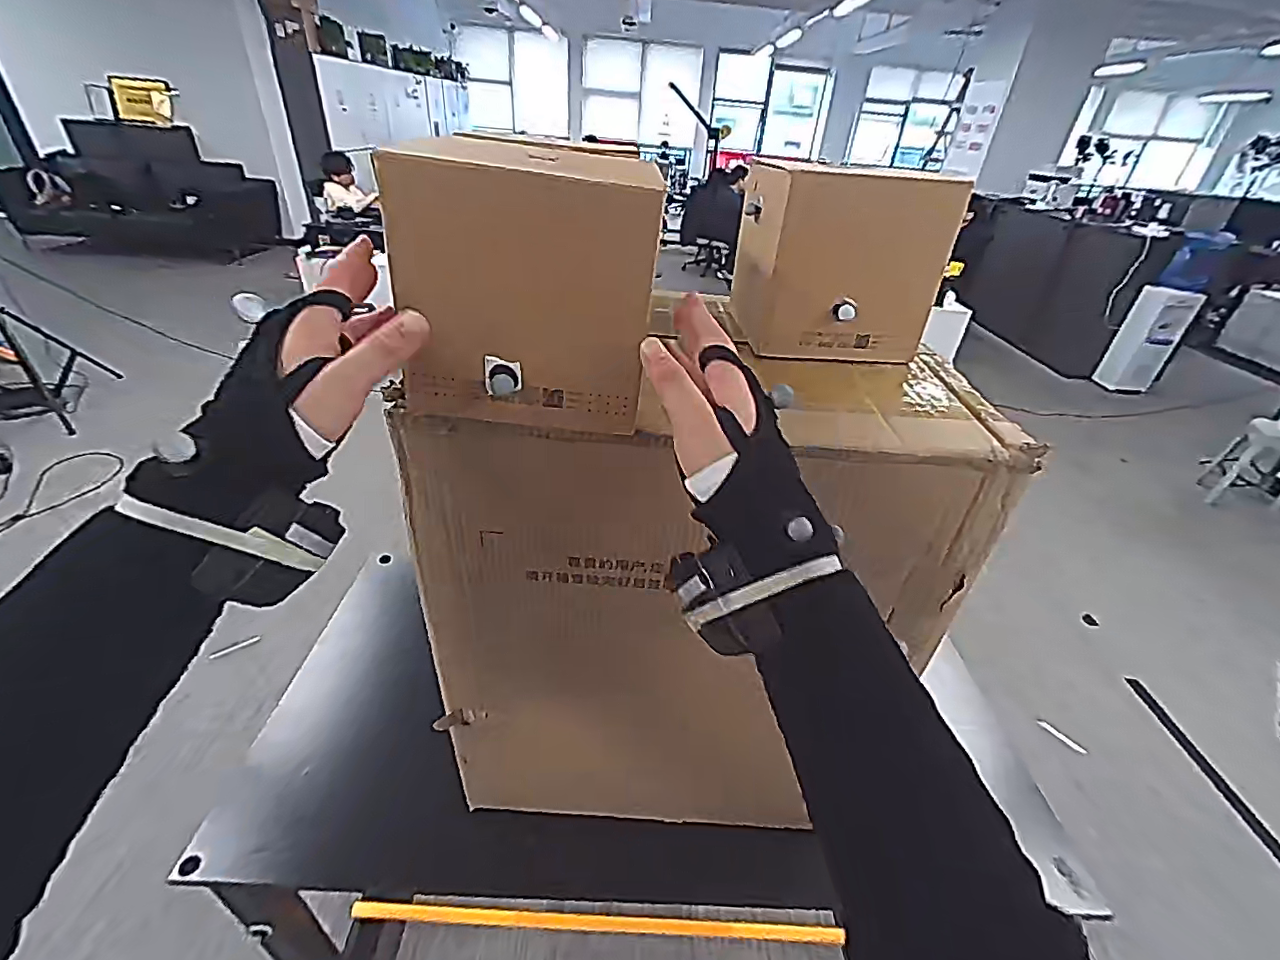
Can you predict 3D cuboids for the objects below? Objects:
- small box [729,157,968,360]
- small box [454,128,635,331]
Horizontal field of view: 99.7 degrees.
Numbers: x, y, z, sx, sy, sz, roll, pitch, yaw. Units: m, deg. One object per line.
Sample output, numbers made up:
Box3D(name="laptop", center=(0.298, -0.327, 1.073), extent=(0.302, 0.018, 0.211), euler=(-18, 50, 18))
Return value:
Box3D(name="small box", center=(0.198, -0.240, 0.578), extent=(0.168, 0.176, 0.179), euler=(1, 33, -3))
Box3D(name="small box", center=(-0.094, -0.276, 0.595), extent=(0.168, 0.176, 0.179), euler=(3, 32, -4))
